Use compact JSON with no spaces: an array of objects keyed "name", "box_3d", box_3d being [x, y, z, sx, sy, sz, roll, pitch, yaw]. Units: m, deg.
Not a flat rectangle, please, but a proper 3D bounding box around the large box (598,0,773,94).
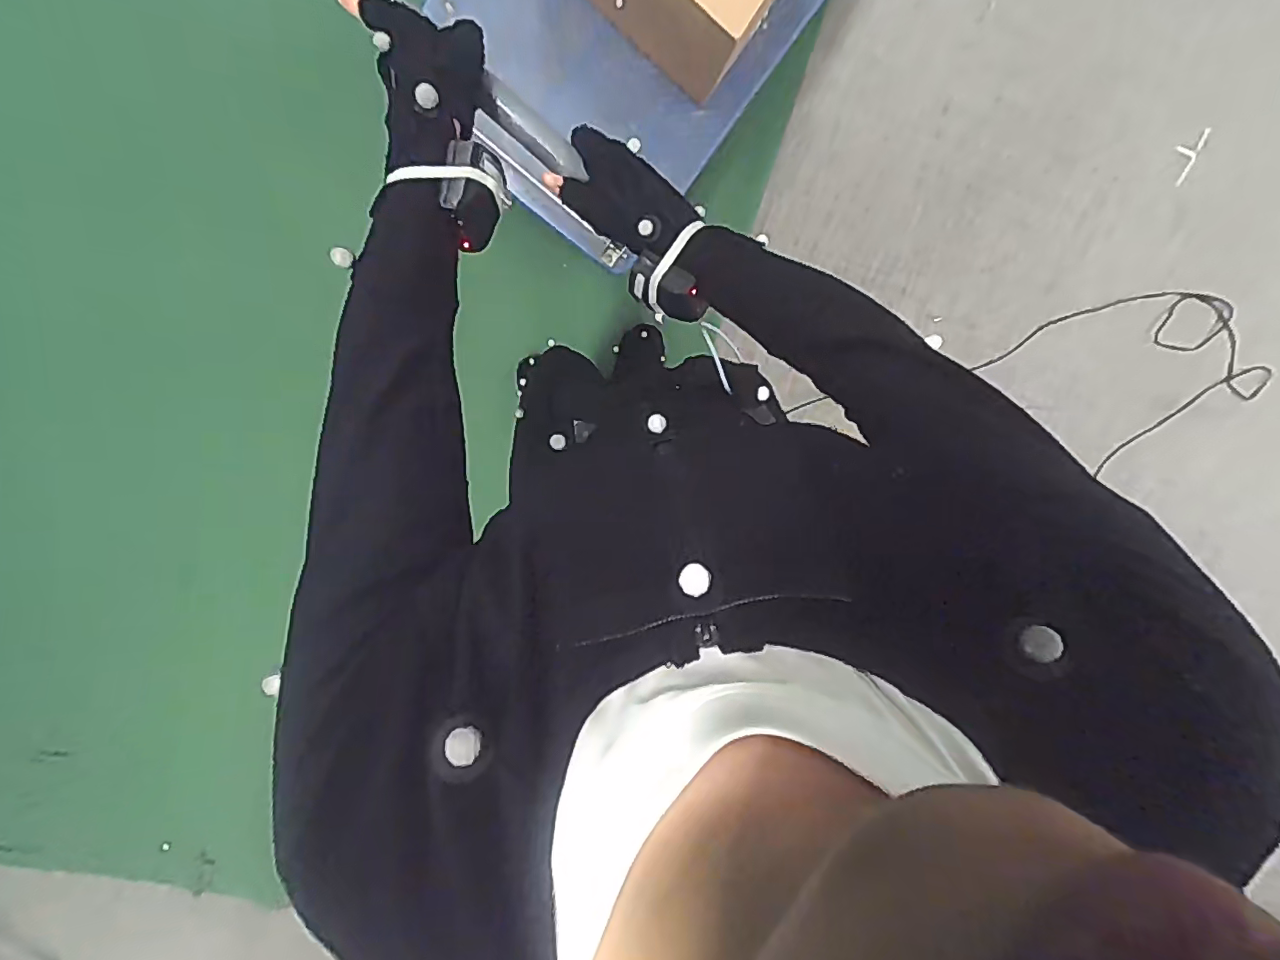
[{"name":"large box","box_3d":[0.069,-0.924,0.846,0.408,0.320,0.320,34,104,-13]}]
